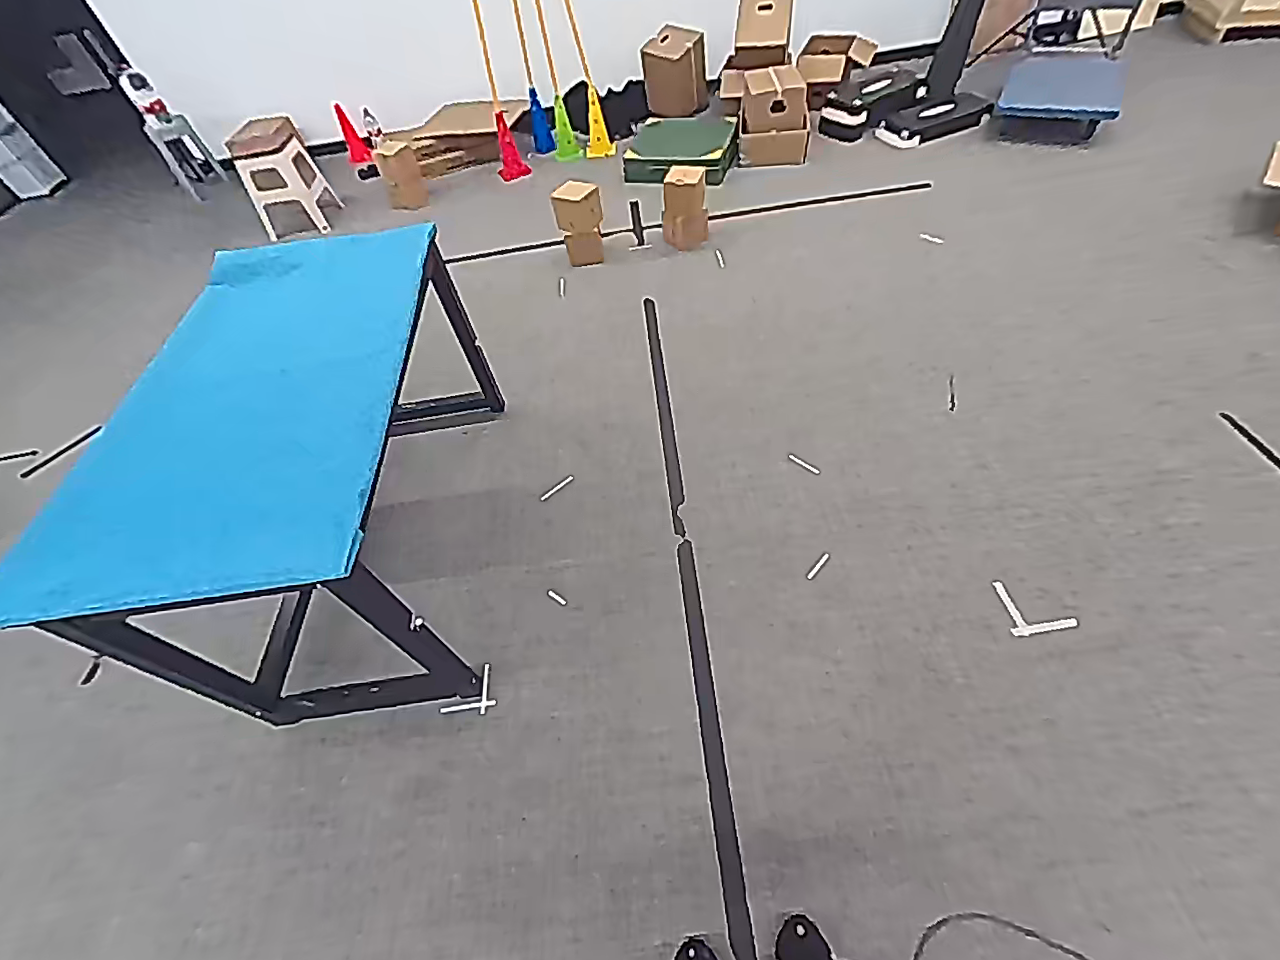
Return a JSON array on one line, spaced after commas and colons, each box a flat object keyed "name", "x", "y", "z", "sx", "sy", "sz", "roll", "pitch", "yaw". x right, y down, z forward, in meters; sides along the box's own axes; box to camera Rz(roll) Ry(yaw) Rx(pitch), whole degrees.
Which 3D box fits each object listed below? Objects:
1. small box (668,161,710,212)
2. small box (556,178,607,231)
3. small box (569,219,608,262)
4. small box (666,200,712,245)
[{"name": "small box", "x": 0.242, "y": -1.430, "z": 2.637, "sx": 0.168, "sy": 0.176, "sz": 0.179, "roll": 12, "pitch": 55, "yaw": 15}, {"name": "small box", "x": -0.286, "y": -1.357, "z": 2.657, "sx": 0.179, "sy": 0.176, "sz": 0.168, "roll": 21, "pitch": 58, "yaw": 21}, {"name": "small box", "x": -0.262, "y": -1.246, "z": 2.781, "sx": 0.179, "sy": 0.176, "sz": 0.168, "roll": -7, "pitch": 51, "yaw": 5}, {"name": "small box", "x": 0.255, "y": -1.339, "z": 2.775, "sx": 0.179, "sy": 0.176, "sz": 0.168, "roll": -34, "pitch": 55, "yaw": -18}]
